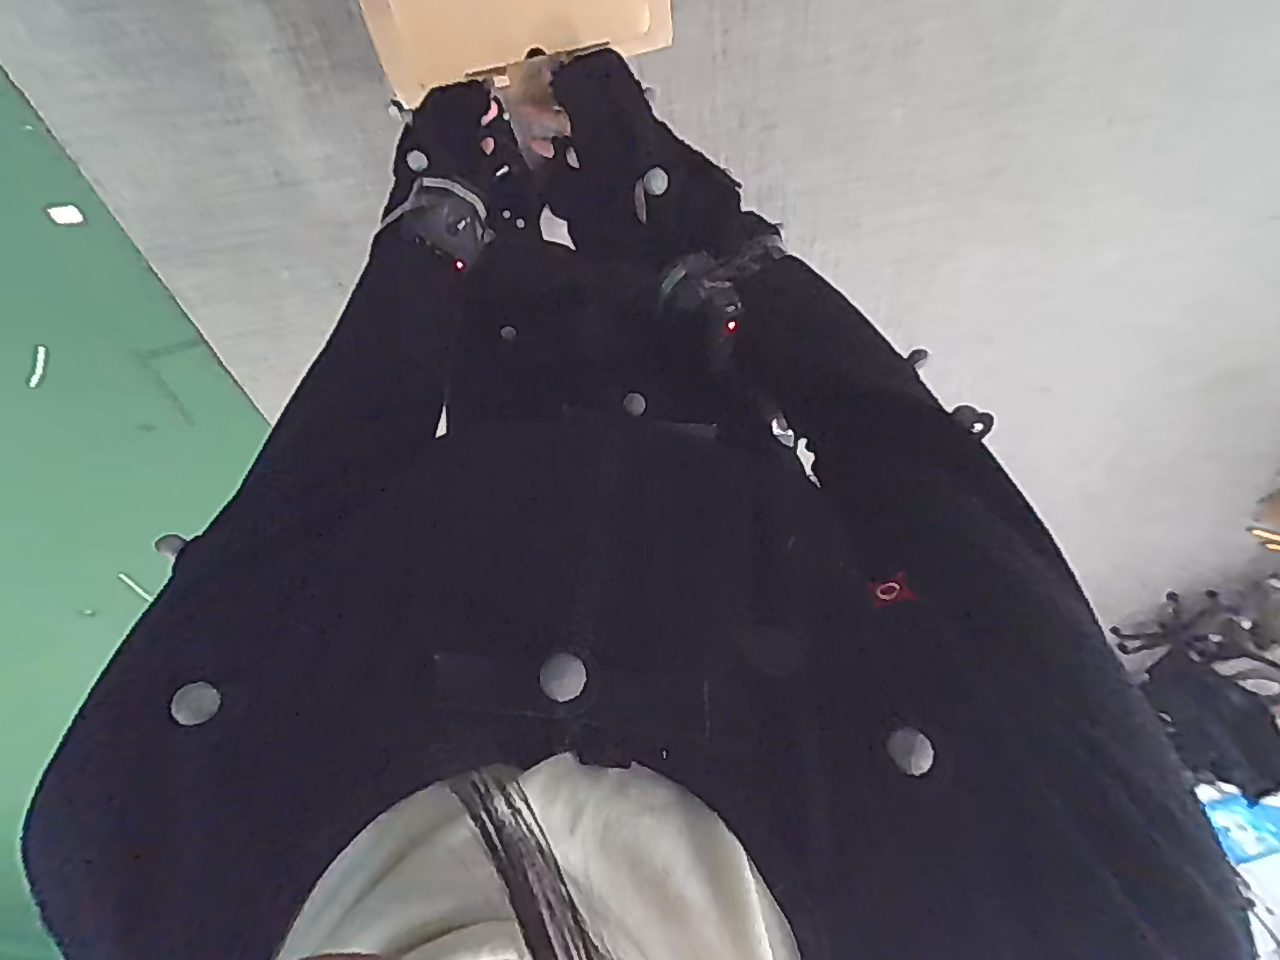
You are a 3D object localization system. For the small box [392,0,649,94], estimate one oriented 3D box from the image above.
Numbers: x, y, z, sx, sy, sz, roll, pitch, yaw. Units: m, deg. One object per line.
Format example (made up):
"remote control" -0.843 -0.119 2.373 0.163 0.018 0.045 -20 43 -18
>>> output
"small box" -0.098 -0.403 0.370 0.168 0.176 0.179 -15 138 -2
